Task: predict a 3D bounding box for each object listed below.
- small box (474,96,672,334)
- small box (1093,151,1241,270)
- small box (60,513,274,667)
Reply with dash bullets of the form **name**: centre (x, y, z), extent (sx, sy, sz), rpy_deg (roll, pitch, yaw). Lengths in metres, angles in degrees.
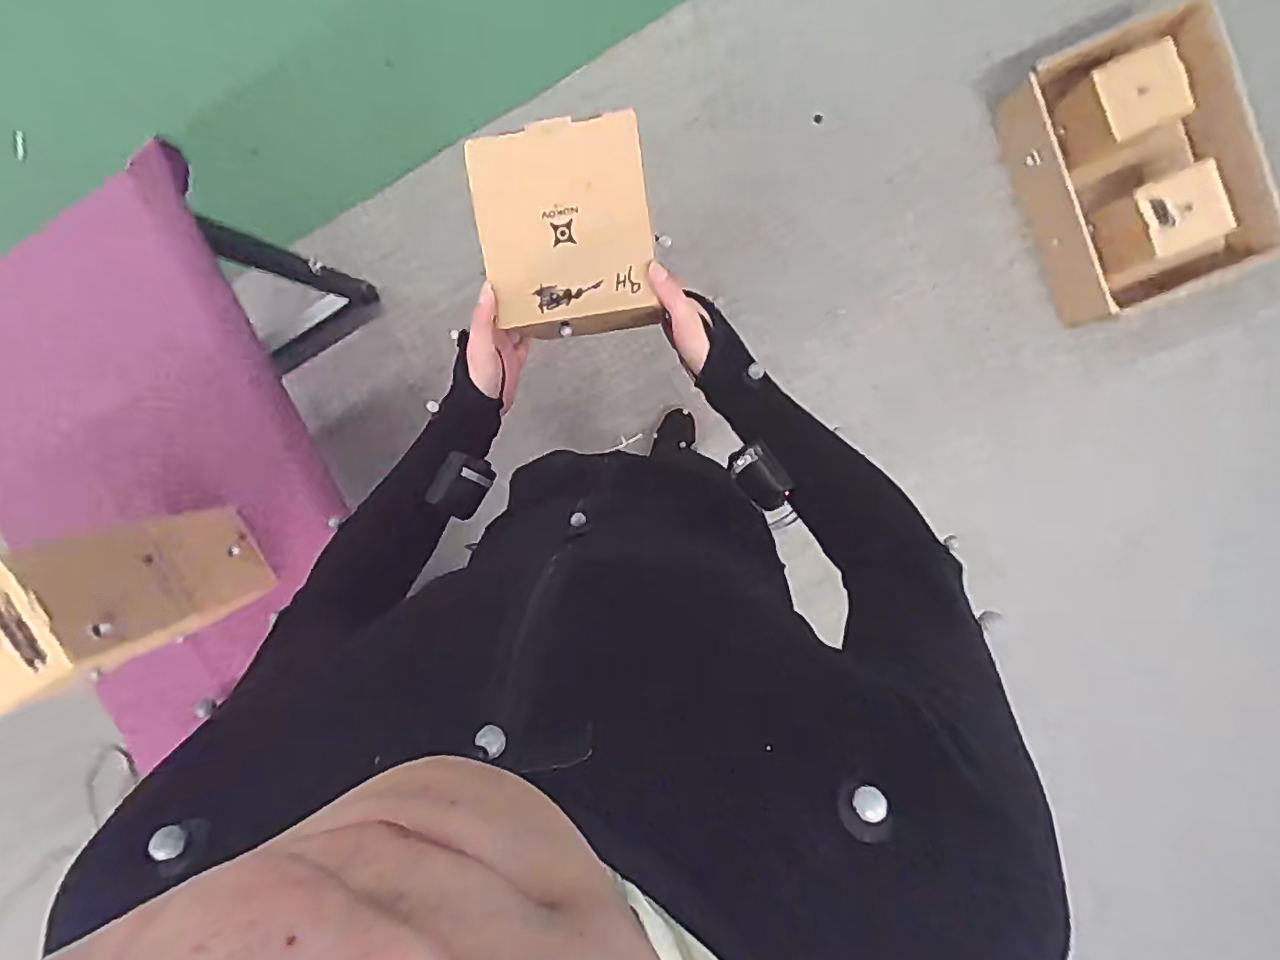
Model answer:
- **small box**: centre (-0.057, -0.262, 0.578), extent (0.168, 0.176, 0.179), rpy_deg (-6, 99, 7)
- **small box**: centre (1.229, -0.625, 1.282), extent (0.179, 0.176, 0.168), rpy_deg (-23, 93, 7)
- **small box**: centre (-0.771, 0.173, 0.900), extent (0.179, 0.176, 0.168), rpy_deg (-29, 93, 8)
